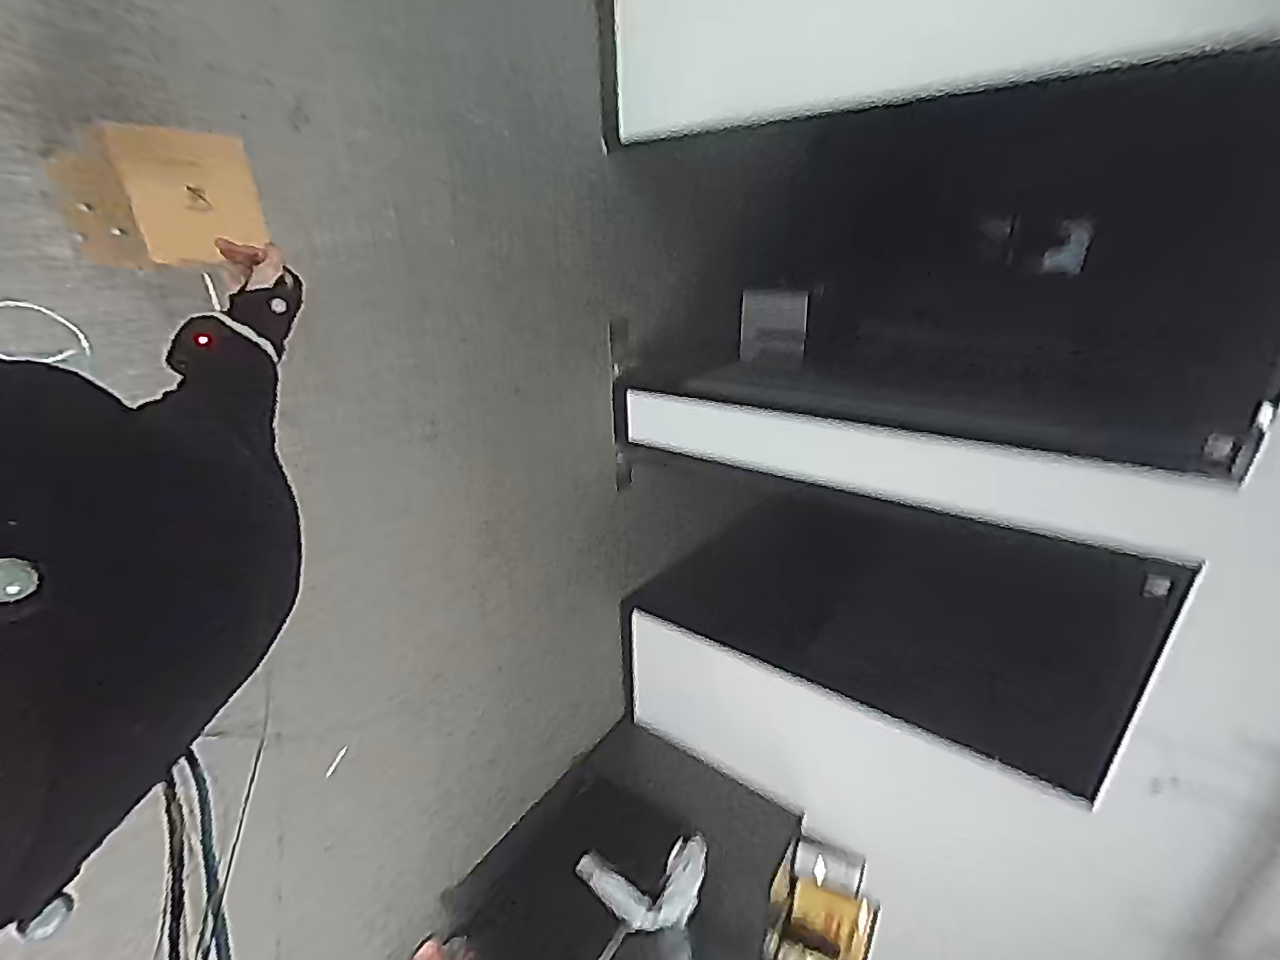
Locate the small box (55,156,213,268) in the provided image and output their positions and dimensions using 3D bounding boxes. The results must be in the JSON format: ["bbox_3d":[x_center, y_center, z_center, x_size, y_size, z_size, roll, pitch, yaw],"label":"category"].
[{"bbox_3d":[-0.966,-0.504,1.040,0.168,0.176,0.179,-29,124,-48],"label":"small box"}]

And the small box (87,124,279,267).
[{"bbox_3d":[-0.710,-0.431,0.848,0.168,0.176,0.179,-29,124,-48],"label":"small box"}]
